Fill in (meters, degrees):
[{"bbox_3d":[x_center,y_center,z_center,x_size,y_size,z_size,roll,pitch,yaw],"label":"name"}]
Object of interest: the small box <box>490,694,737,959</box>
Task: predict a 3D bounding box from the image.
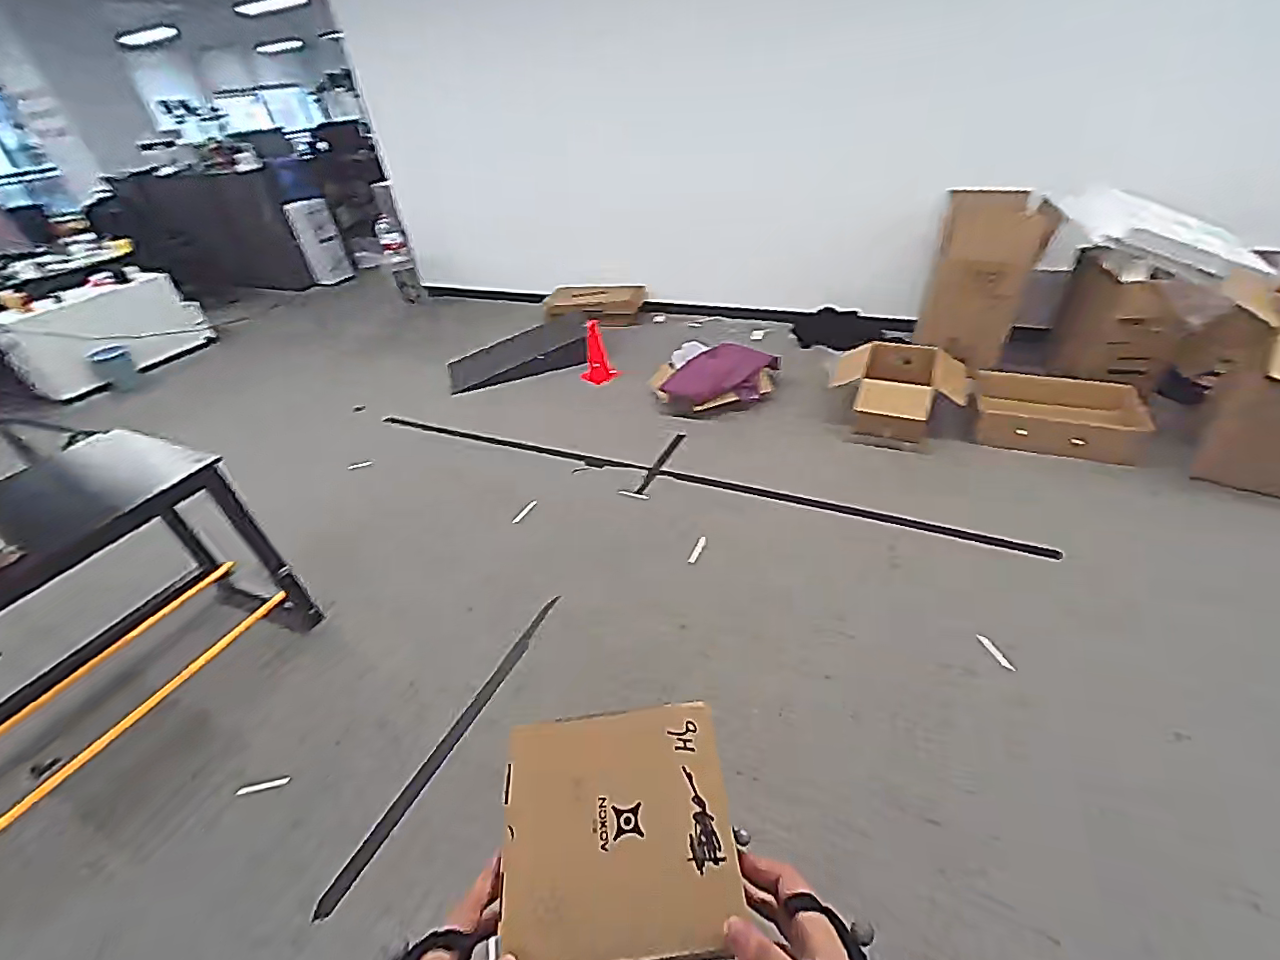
[{"bbox_3d":[-0.018,0.314,0.480,0.179,0.176,0.168,-7,46,-1],"label":"small box"}]
